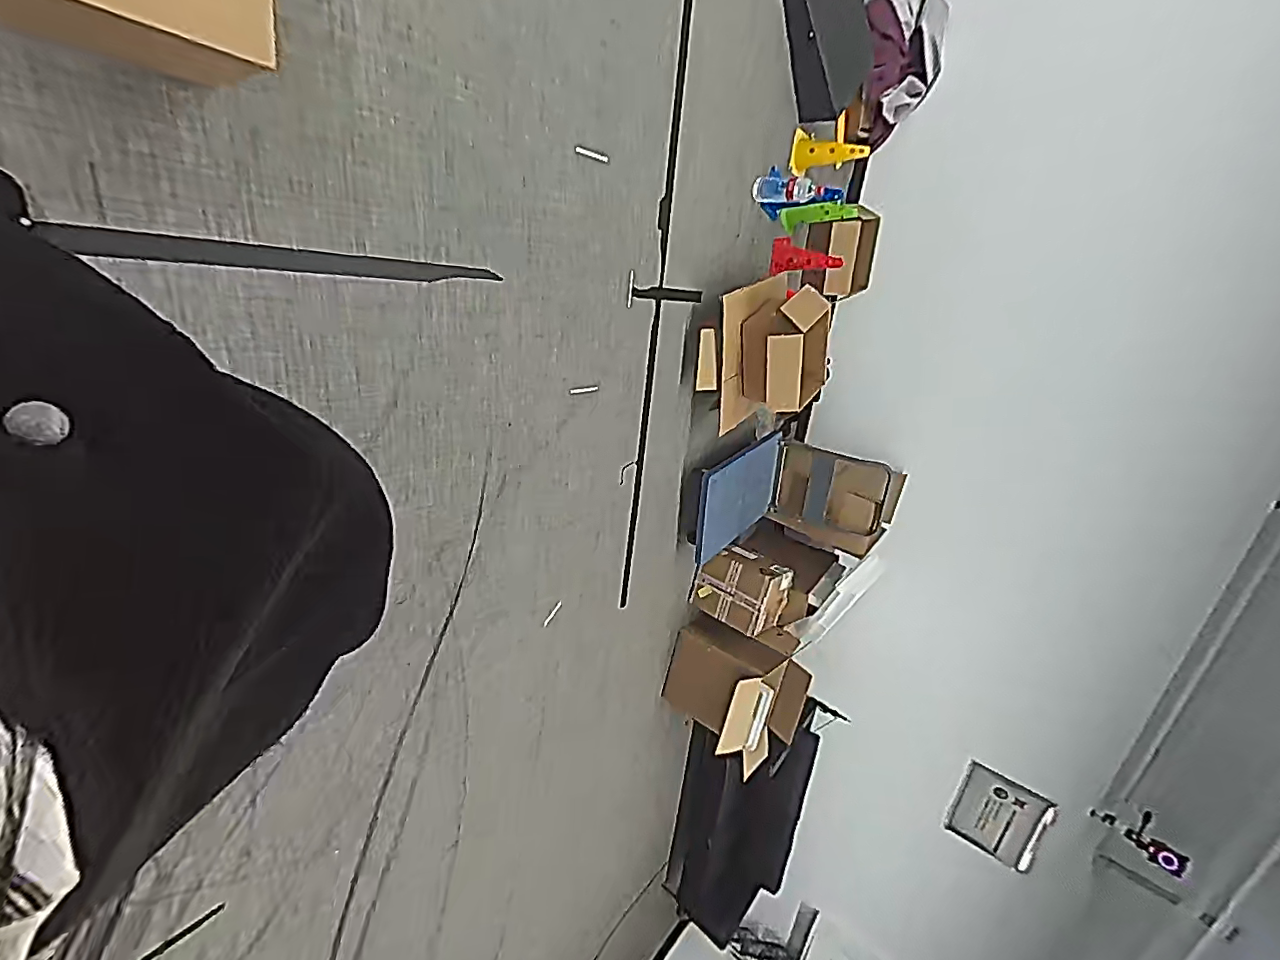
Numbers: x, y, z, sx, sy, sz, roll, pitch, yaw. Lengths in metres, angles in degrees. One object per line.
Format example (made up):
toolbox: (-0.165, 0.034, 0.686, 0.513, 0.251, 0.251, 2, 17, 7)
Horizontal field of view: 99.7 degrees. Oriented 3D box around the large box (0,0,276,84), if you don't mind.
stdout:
large box: (-0.818, -0.826, 0.767, 0.408, 0.320, 0.320, -17, 121, -51)
